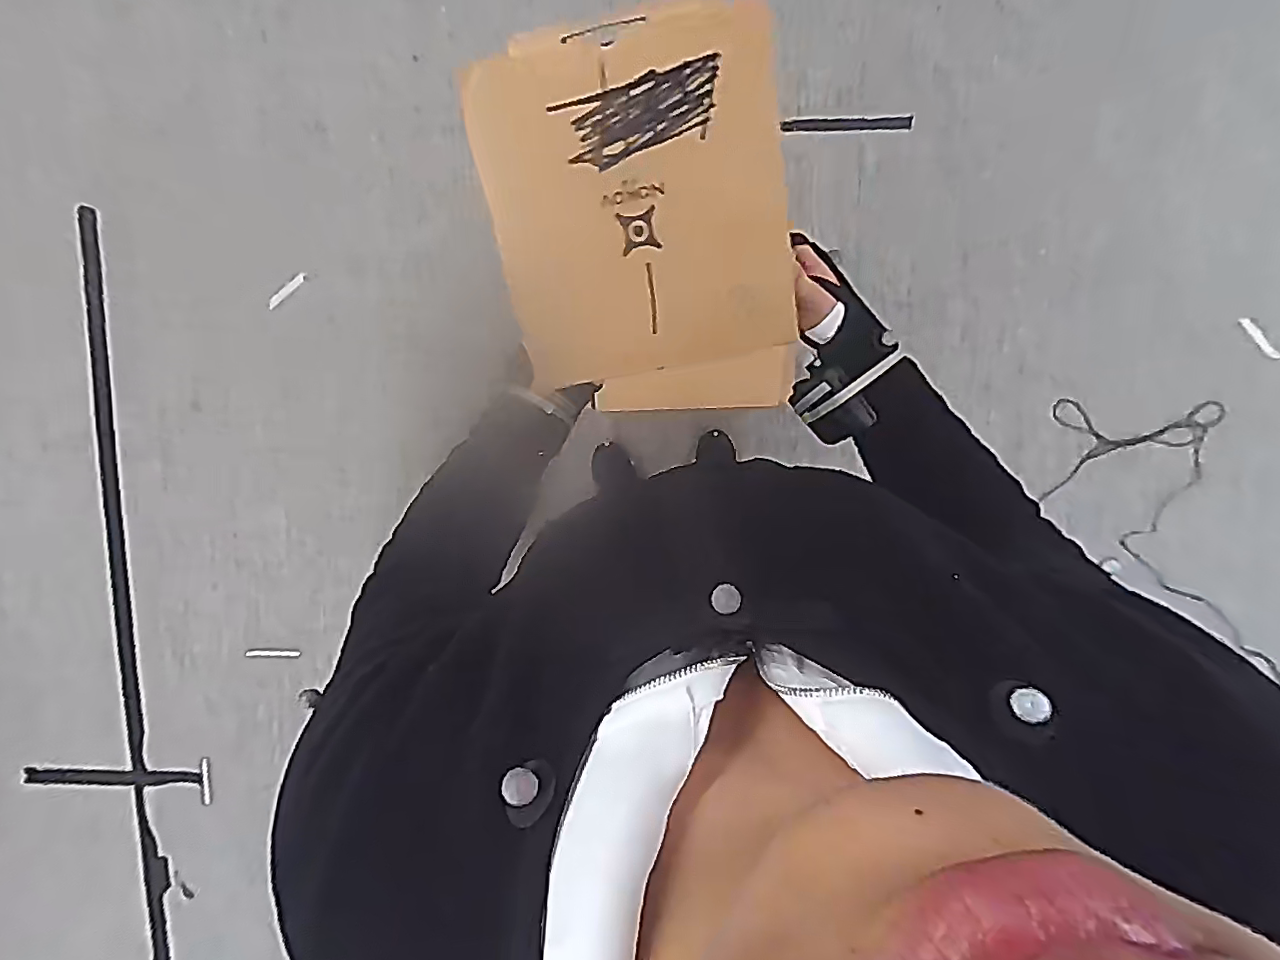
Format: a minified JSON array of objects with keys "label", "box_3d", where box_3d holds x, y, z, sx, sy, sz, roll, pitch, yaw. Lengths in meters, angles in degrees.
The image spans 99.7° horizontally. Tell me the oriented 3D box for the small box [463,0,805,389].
[{"label":"small box","box_3d":[0.004,-0.175,0.372,0.168,0.176,0.179,-10,110,6]}]
